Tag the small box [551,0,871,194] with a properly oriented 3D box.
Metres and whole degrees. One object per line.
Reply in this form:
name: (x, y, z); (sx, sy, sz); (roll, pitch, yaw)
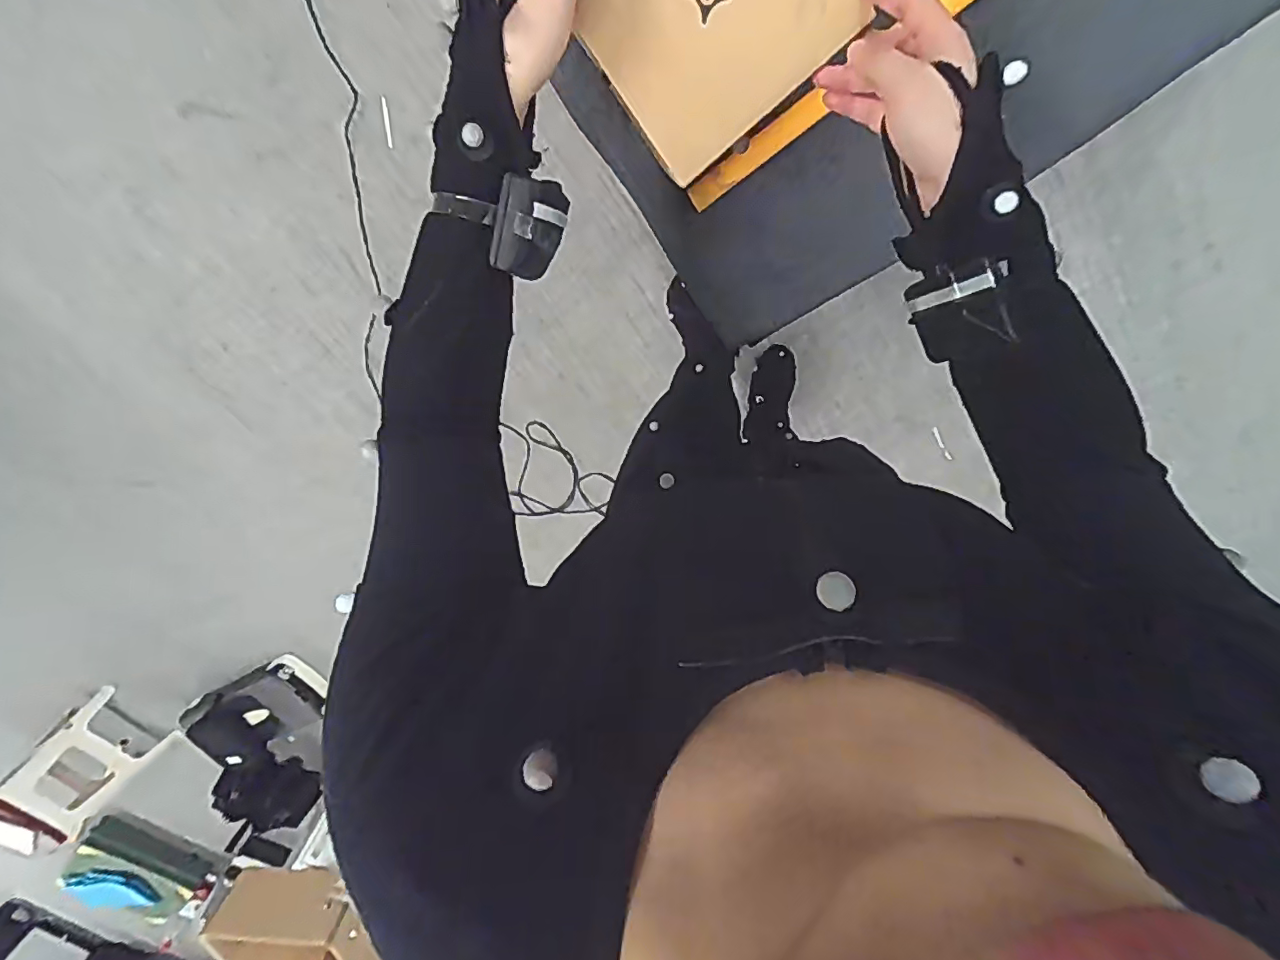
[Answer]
small box: (0.048, -0.365, 0.433); (0.168, 0.176, 0.179); (-34, 113, 20)
